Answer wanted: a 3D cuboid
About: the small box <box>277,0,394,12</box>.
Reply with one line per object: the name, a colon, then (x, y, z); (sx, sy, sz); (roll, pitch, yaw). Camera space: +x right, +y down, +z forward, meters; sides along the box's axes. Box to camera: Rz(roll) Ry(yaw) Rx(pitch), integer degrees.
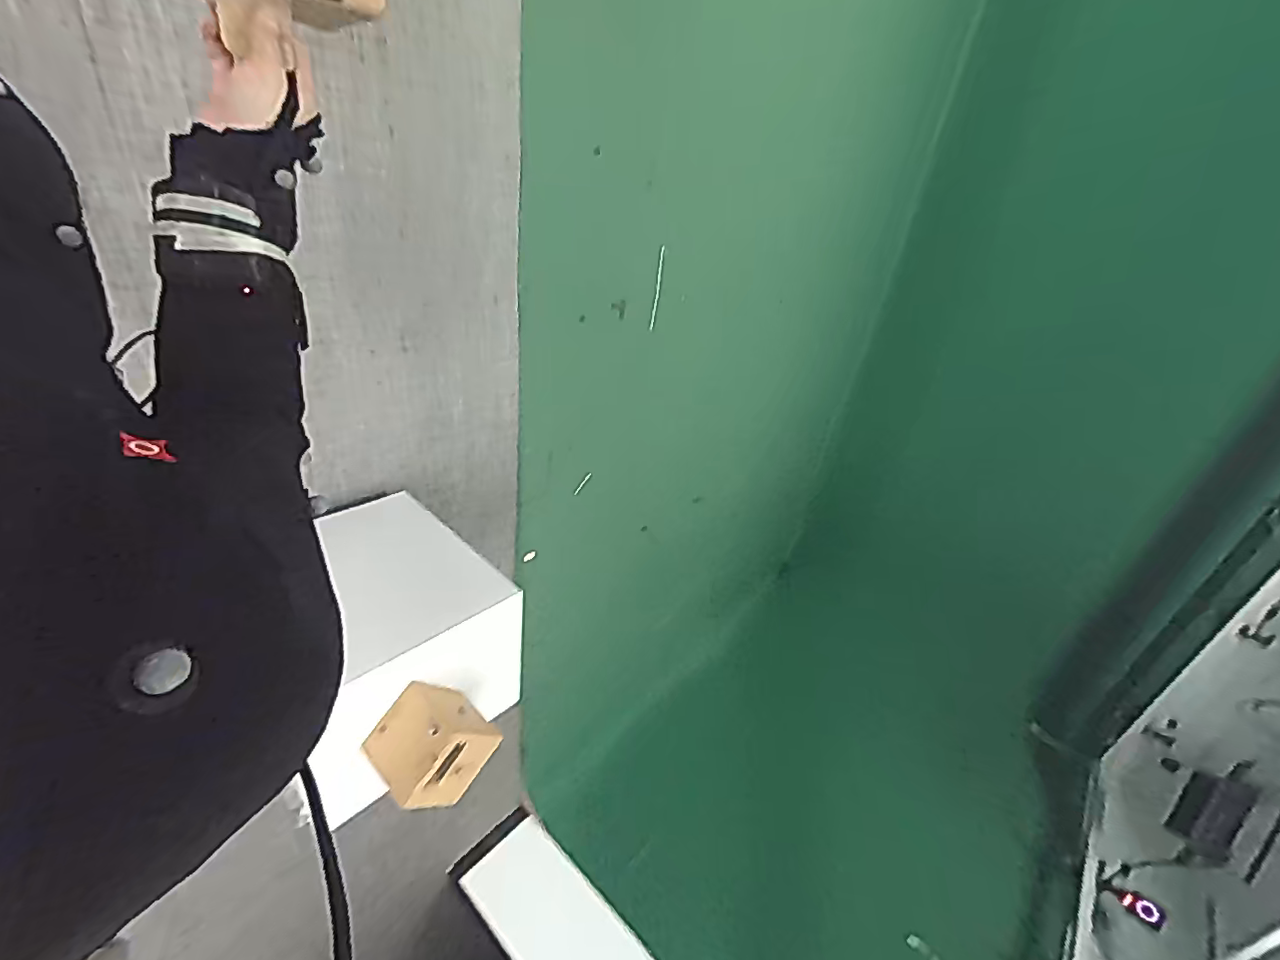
small box: (-0.281, -0.452, 0.362); (0.168, 0.176, 0.179); (-15, 130, -39)
